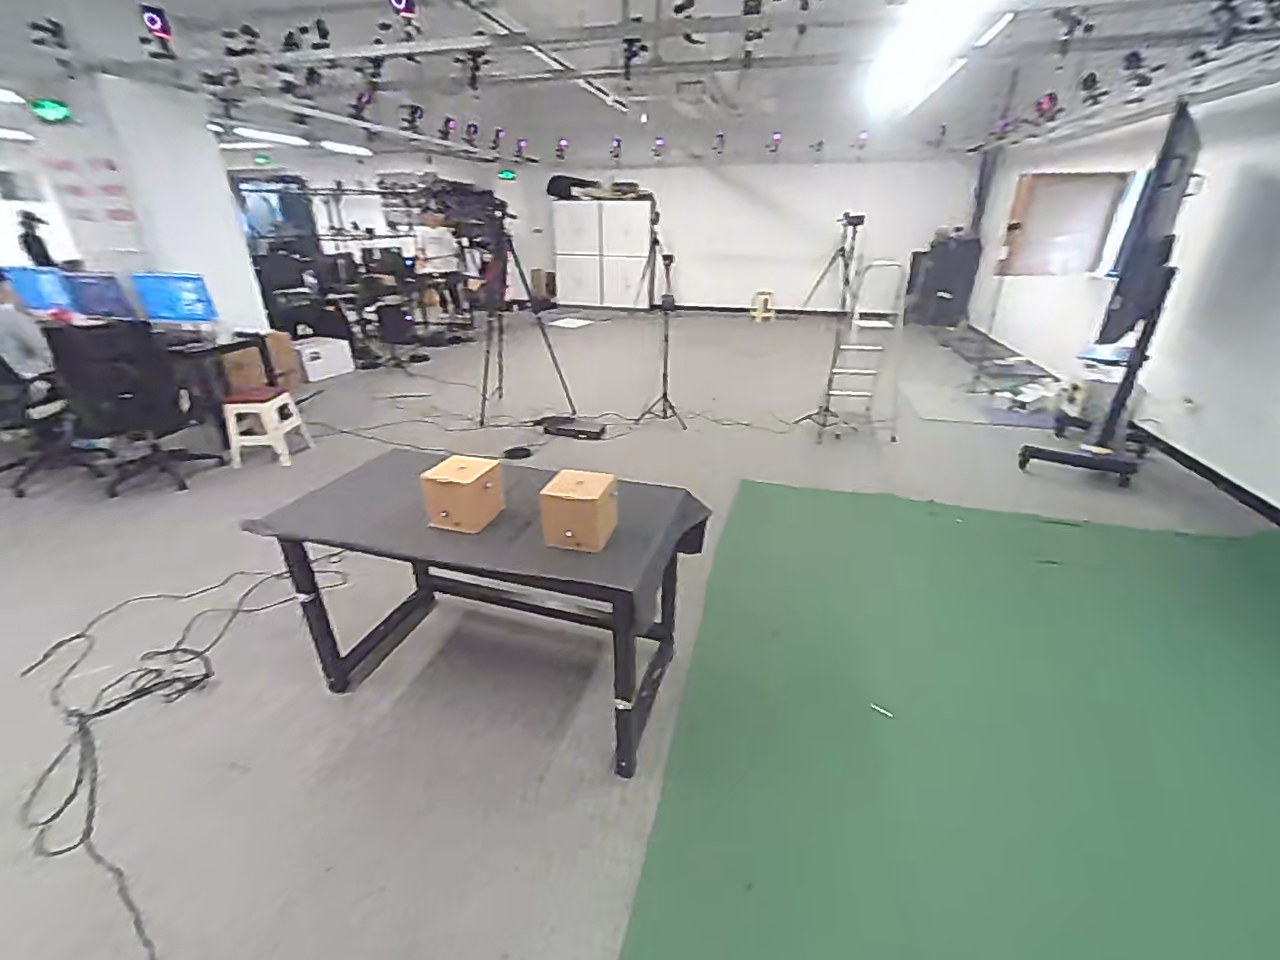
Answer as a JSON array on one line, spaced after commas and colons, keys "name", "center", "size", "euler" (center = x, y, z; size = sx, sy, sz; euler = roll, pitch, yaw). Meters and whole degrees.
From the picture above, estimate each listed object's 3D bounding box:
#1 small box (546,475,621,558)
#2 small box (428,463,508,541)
[{"name": "small box", "center": [-0.158, 0.103, 1.560], "size": [0.168, 0.176, 0.179], "euler": [5, 25, 14]}, {"name": "small box", "center": [-0.521, 0.064, 1.660], "size": [0.168, 0.176, 0.179], "euler": [7, 26, 15]}]
